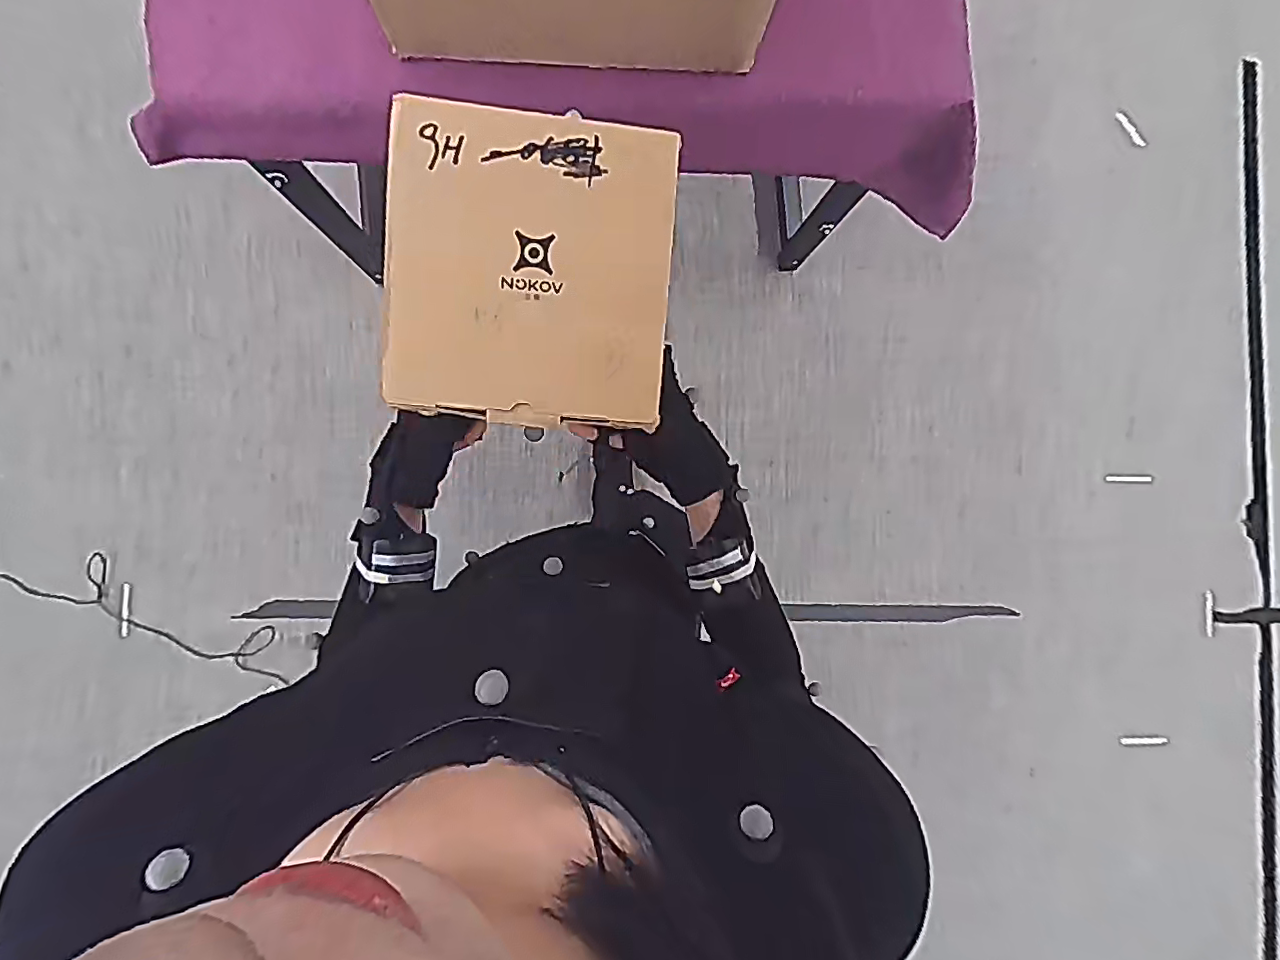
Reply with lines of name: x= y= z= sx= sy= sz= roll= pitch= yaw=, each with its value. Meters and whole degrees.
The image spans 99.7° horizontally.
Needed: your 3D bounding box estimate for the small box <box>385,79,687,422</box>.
small box: x=-0.067 y=-0.137 z=0.391 sx=0.168 sy=0.176 sz=0.179 roll=4 pitch=96 yaw=-6
